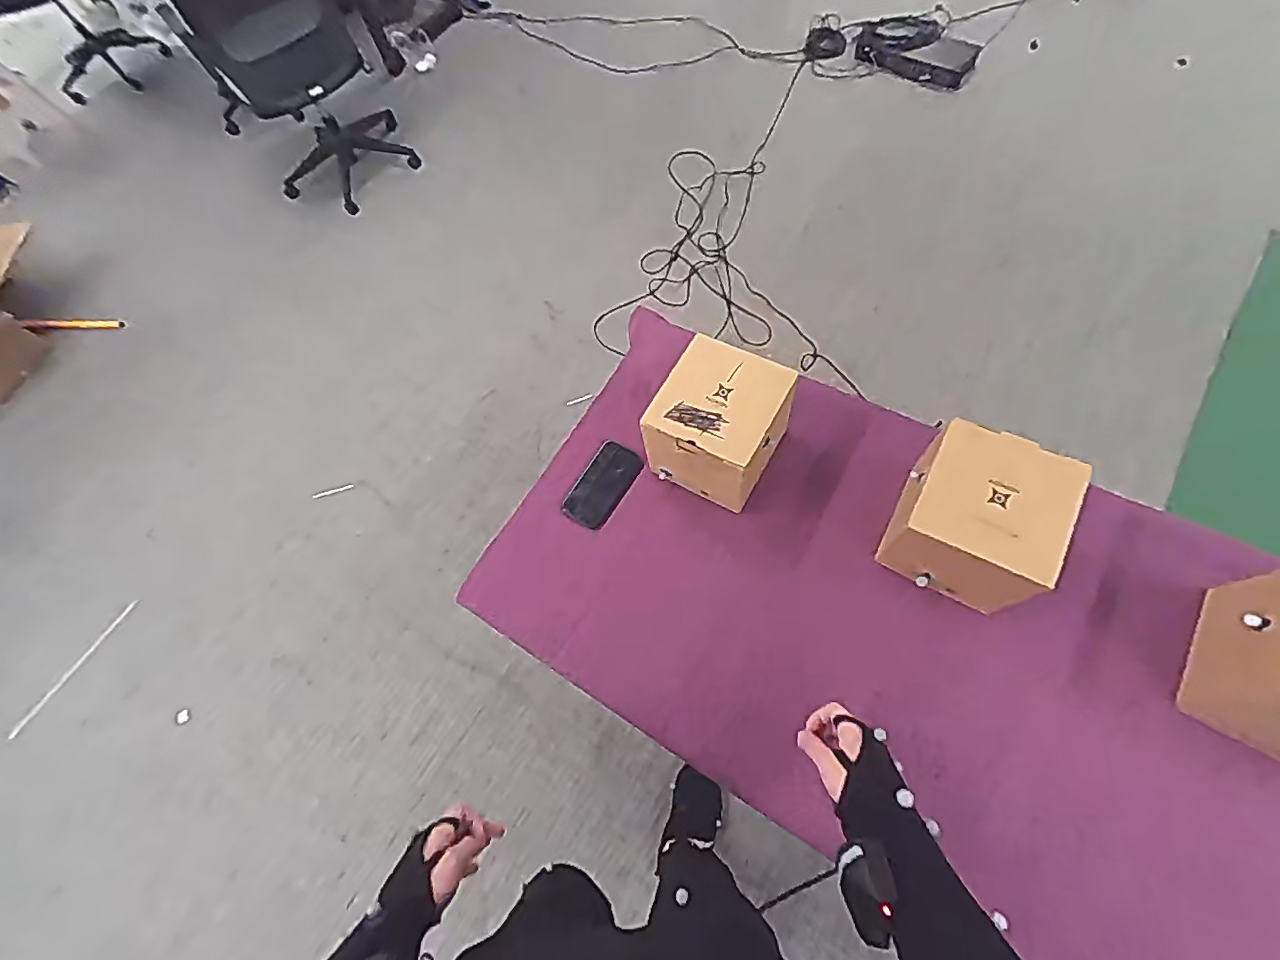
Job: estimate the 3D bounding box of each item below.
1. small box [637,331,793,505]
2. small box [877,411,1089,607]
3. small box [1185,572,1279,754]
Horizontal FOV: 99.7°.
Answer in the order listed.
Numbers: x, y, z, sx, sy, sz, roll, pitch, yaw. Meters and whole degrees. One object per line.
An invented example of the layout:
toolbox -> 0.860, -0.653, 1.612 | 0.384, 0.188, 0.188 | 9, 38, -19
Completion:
small box -> 0.117, -0.087, 0.829 | 0.168, 0.176, 0.179 | 26, 72, 18
small box -> 0.441, 0.045, 0.723 | 0.168, 0.176, 0.179 | 26, 73, 19
small box -> 0.770, 0.210, 0.598 | 0.168, 0.176, 0.179 | 28, 72, 20
